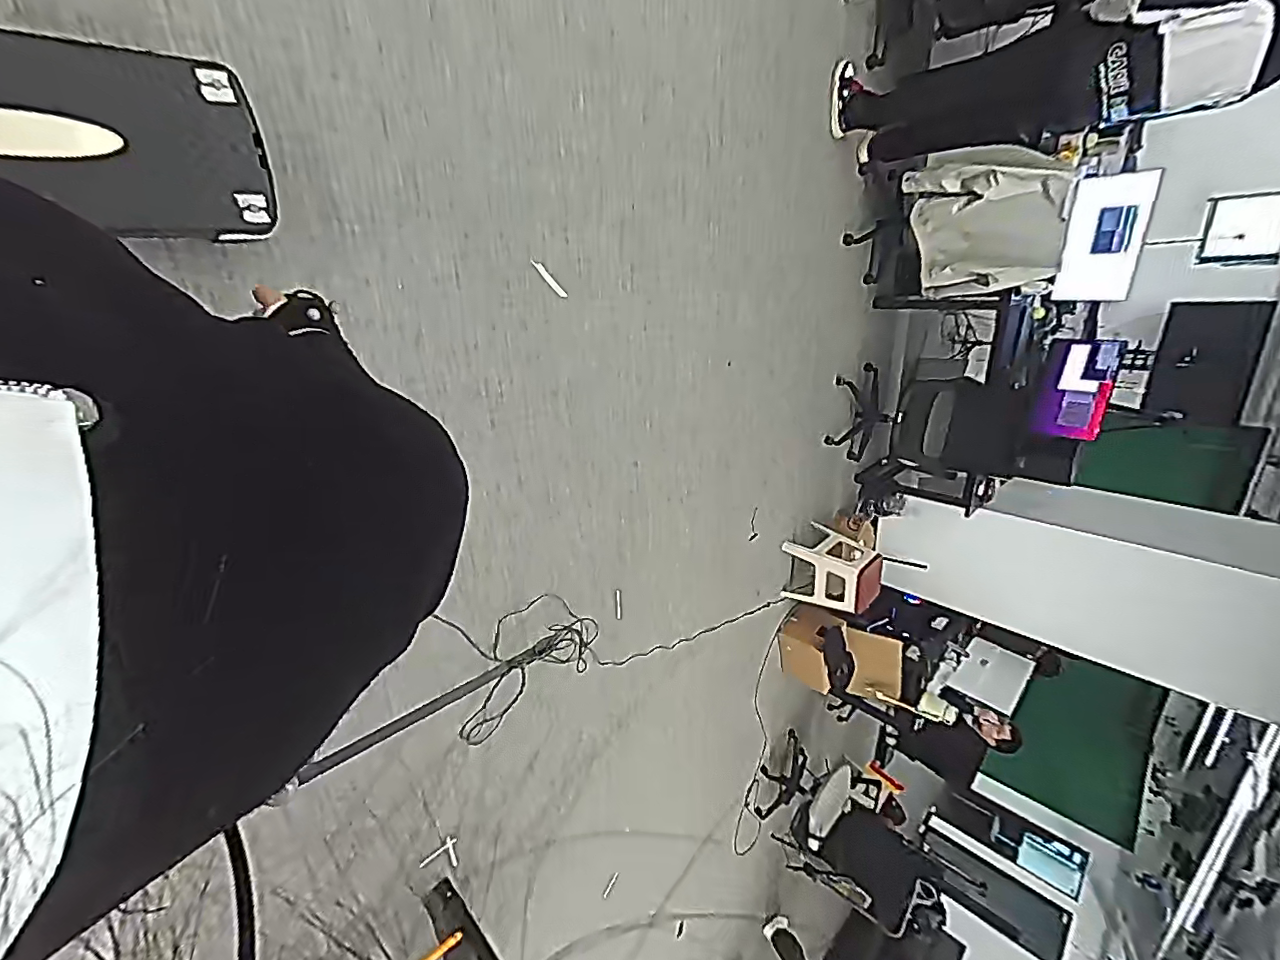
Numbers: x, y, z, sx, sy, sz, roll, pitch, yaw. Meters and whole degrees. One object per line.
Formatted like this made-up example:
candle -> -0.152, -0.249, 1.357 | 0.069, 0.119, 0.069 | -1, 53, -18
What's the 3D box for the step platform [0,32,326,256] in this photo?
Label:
step platform -> -0.849, -0.470, 0.750 | 0.684, 0.204, 0.286 | -24, 118, -40
